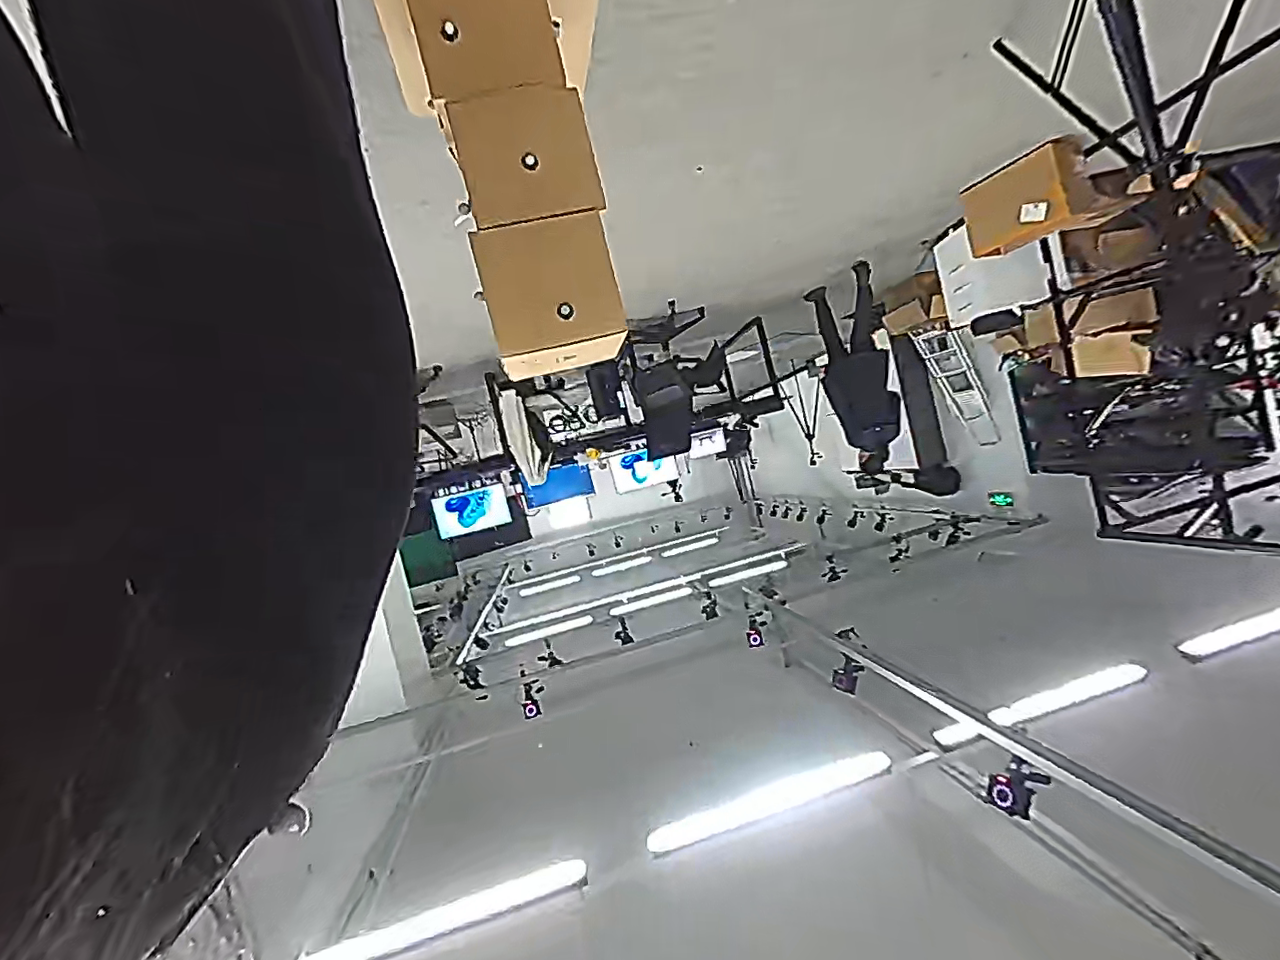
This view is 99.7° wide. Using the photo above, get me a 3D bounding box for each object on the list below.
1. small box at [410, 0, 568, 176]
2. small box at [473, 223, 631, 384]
[{"bbox_3d":[-0.207,-0.572,0.765,0.179,0.176,0.168,-15,-177,-6],"label":"small box"},{"bbox_3d":[-0.127,-0.253,0.789,0.179,0.176,0.168,-14,-178,-9],"label":"small box"}]
